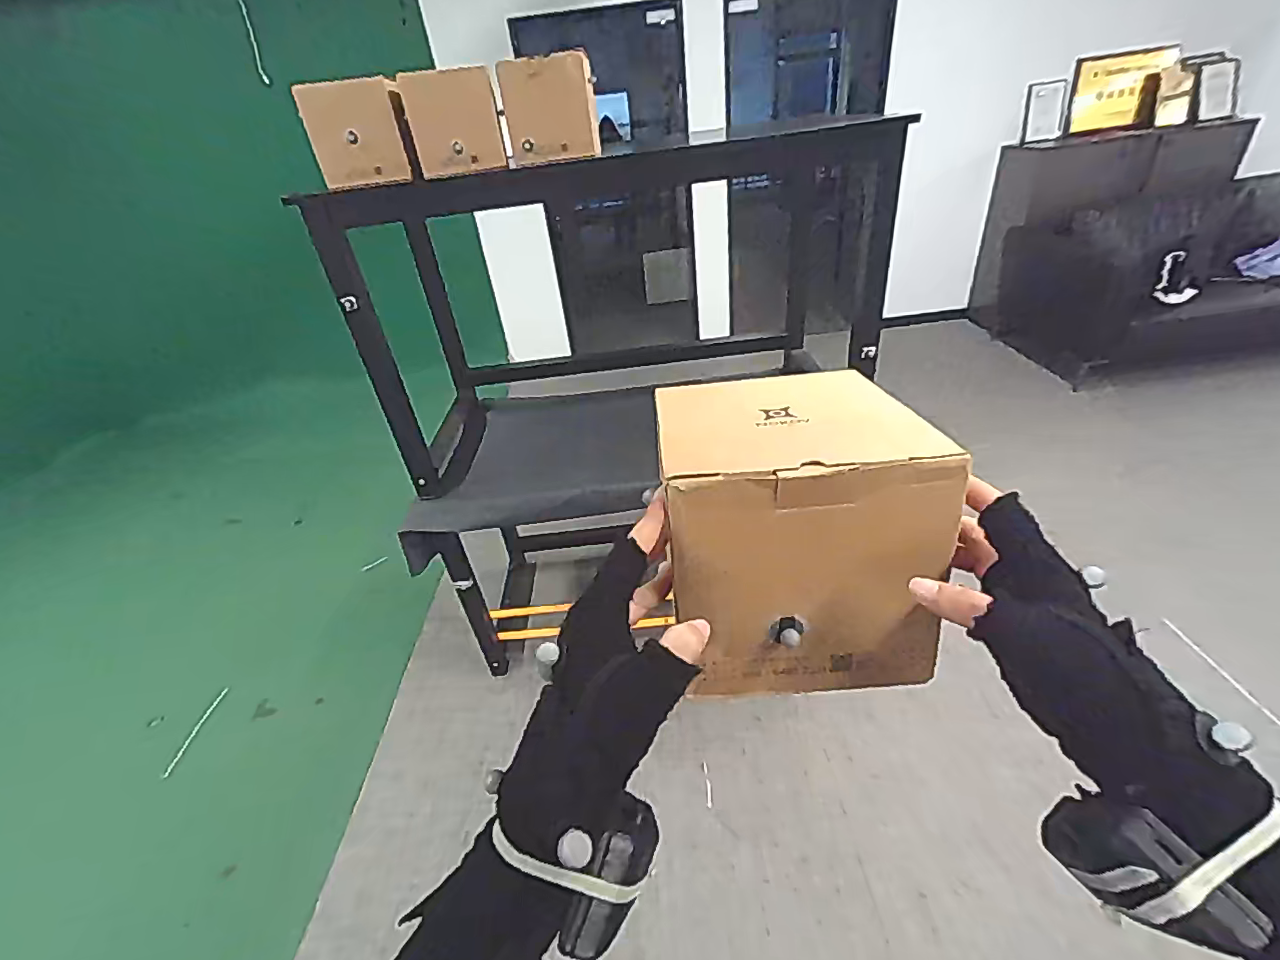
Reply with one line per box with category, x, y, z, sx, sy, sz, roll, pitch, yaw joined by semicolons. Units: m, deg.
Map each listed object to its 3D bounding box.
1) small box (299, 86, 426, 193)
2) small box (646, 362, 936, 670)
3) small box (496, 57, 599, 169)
small box;-0.559;-0.699;1.120;0.168;0.176;0.179;-9;32;-5
small box;0.092;0.017;0.413;0.168;0.176;0.179;-5;25;2
small box;-0.180;-0.749;1.117;0.168;0.176;0.179;-5;32;4
